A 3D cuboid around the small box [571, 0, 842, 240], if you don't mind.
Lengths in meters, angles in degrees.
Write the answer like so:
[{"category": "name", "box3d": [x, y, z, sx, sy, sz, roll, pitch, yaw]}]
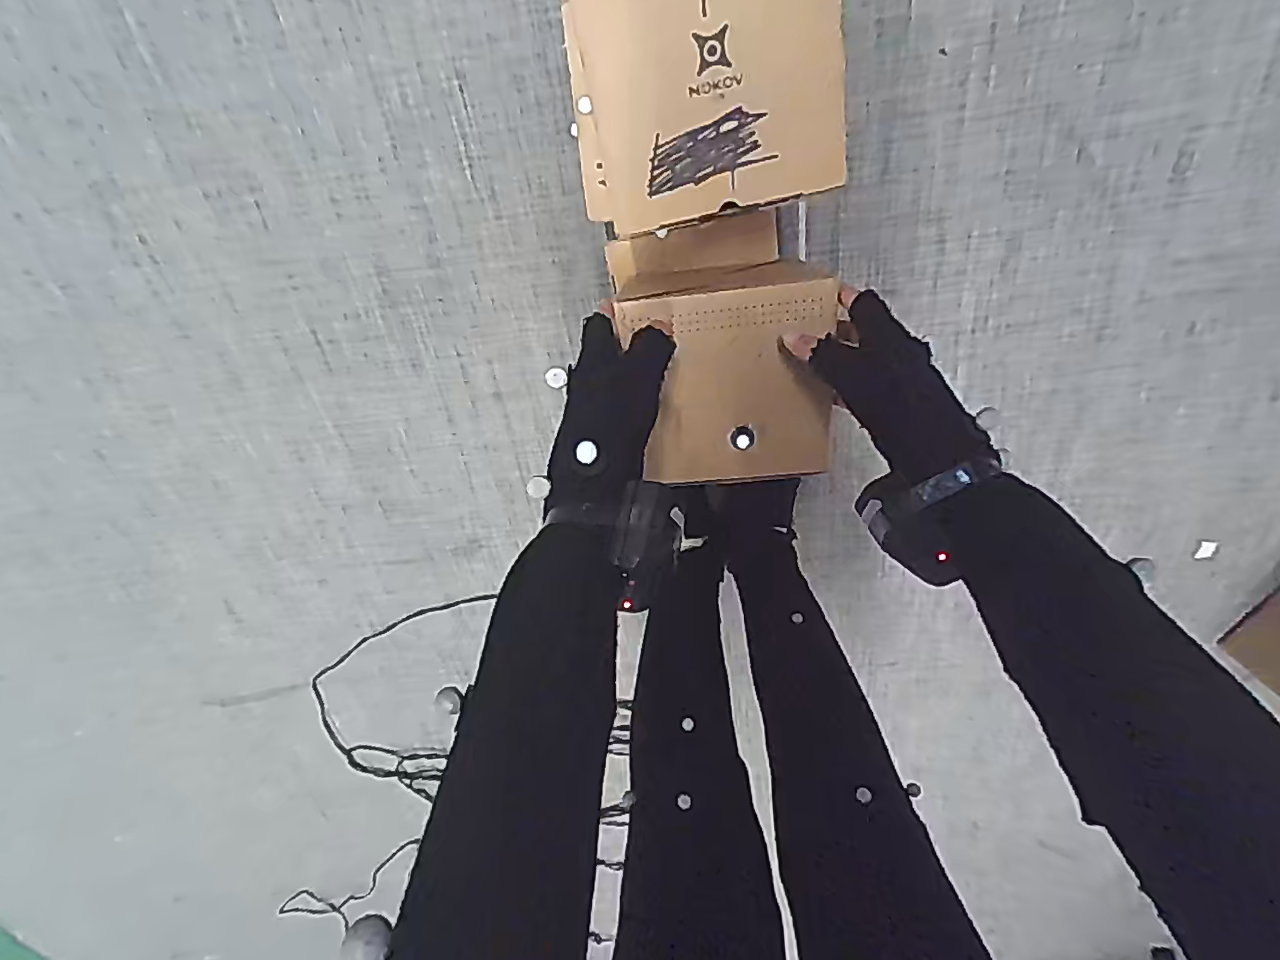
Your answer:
[{"category": "small box", "box3d": [0.050, -0.300, 0.420, 0.168, 0.176, 0.179, -9, 116, 7]}]
